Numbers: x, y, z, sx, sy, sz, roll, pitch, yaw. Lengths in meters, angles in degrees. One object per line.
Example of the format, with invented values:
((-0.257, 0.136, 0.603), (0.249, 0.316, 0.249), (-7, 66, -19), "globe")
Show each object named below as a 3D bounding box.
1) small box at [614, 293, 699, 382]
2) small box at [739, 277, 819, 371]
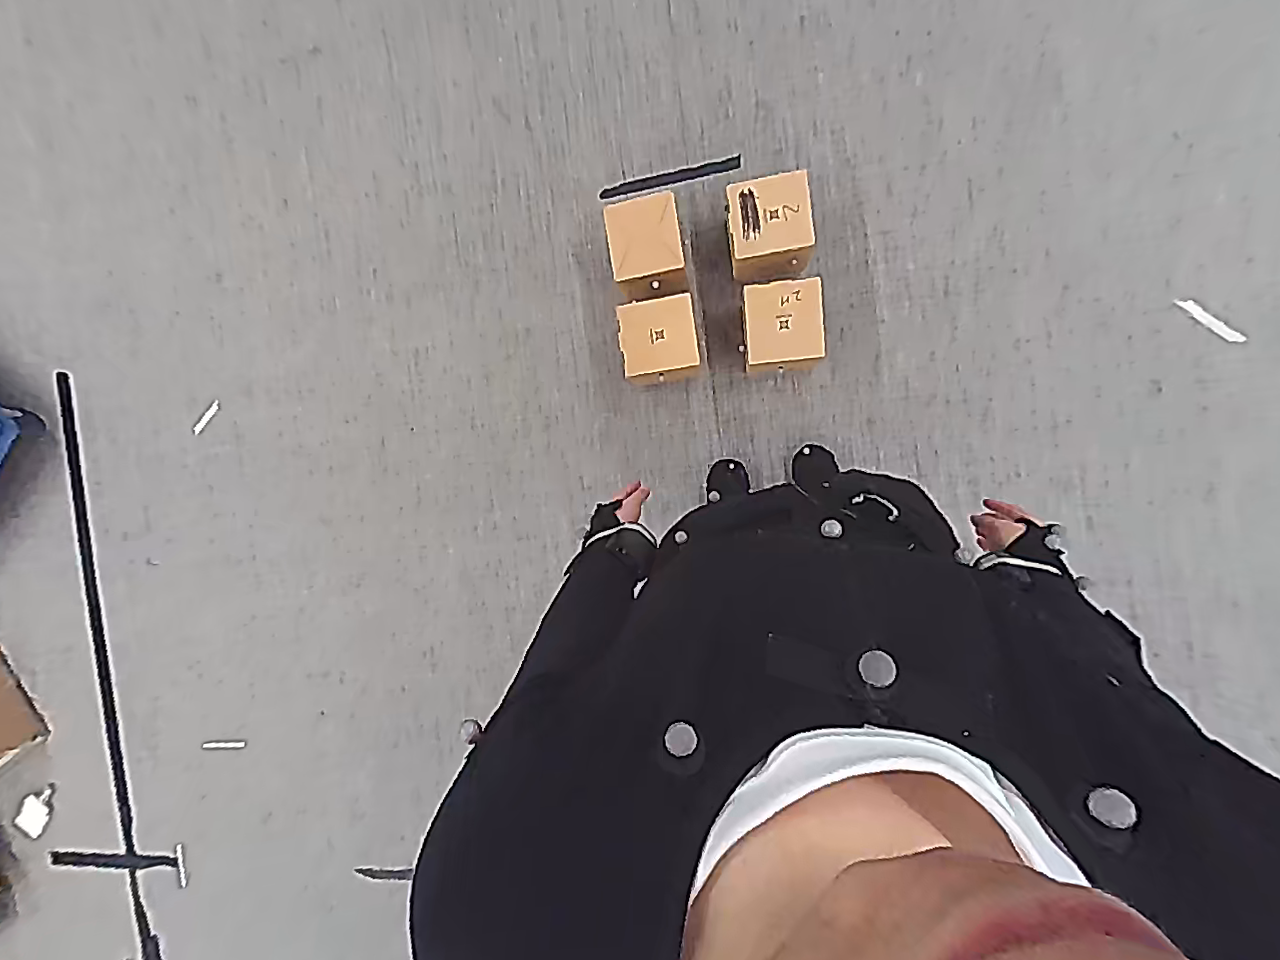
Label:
((0.048, -0.339, 1.316), (0.179, 0.176, 0.168), (-8, 92, 11), "small box")
((0.320, -0.355, 1.267), (0.168, 0.176, 0.179), (-4, 93, 9), "small box")
